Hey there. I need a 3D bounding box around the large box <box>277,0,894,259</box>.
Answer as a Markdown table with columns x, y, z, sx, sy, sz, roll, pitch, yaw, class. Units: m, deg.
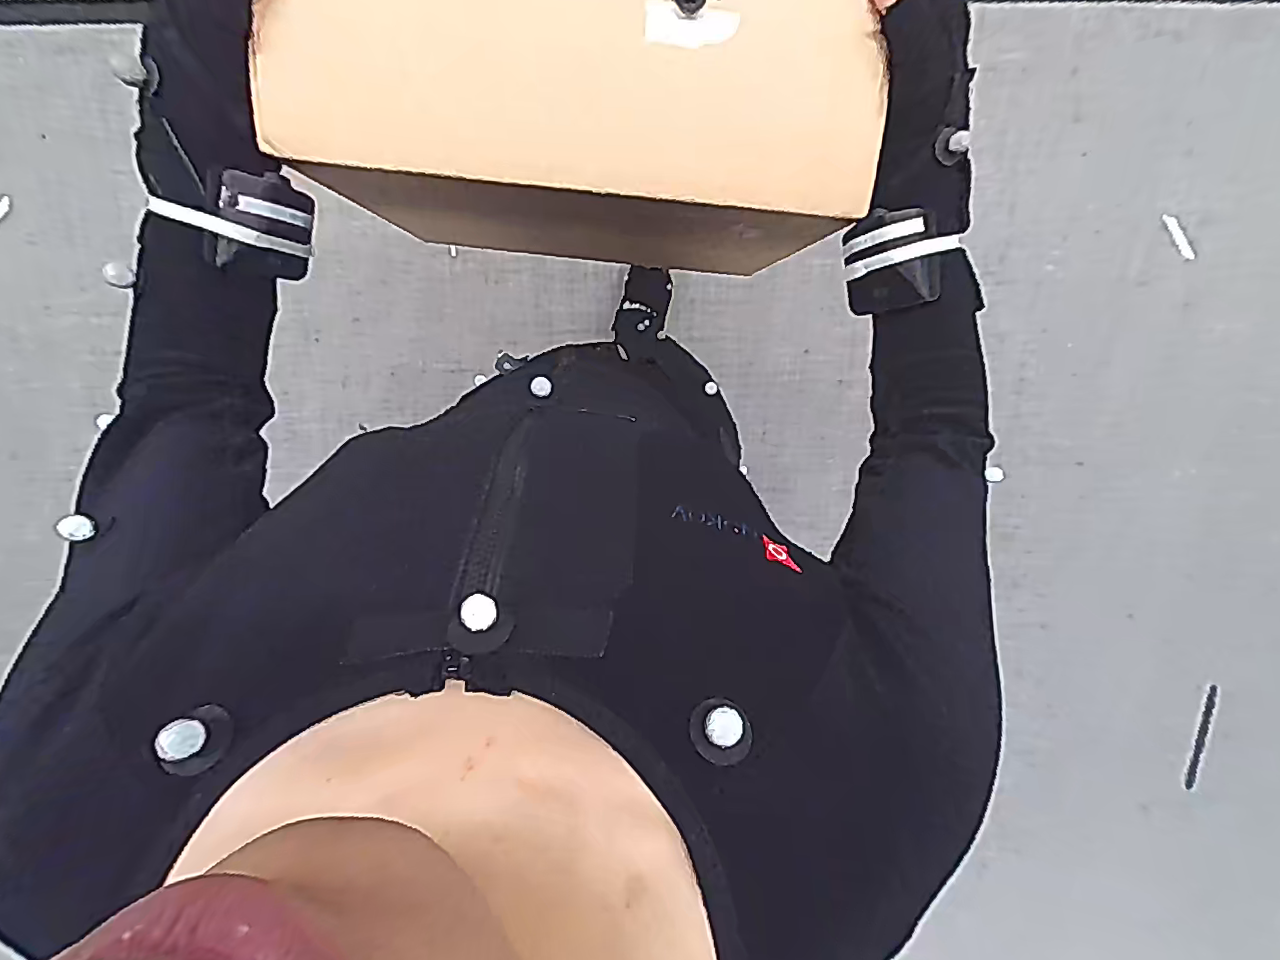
| x | y | z | sx | sy | sz | roll | pitch | yaw | class |
| --- | --- | --- | --- | --- | --- | --- | --- | --- | --- |
| -0.035 | -0.398 | 0.482 | 0.408 | 0.320 | 0.320 | 4 | 104 | -4 | large box |
